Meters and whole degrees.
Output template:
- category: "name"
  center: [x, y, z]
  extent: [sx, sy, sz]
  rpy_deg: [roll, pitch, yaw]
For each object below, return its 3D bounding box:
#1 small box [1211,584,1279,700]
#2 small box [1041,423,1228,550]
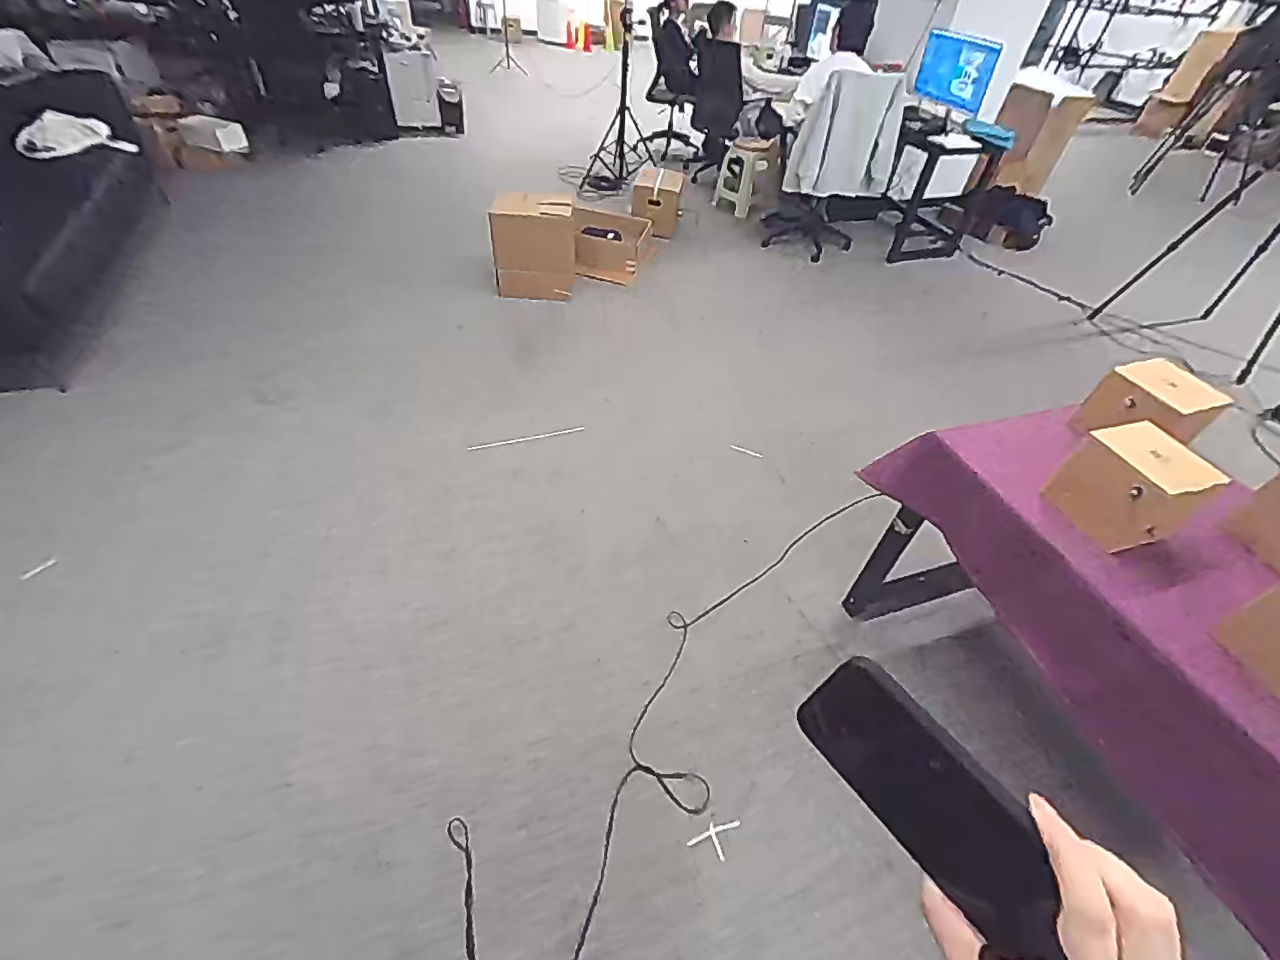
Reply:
- category: "small box"
  center: [1.087, 0.253, 0.848]
  extent: [0.168, 0.176, 0.179]
  rpy_deg: [-8, 48, -14]
- category: "small box"
  center: [0.961, 0.012, 1.072]
  extent: [0.168, 0.176, 0.179]
  rpy_deg: [-10, 49, -15]
